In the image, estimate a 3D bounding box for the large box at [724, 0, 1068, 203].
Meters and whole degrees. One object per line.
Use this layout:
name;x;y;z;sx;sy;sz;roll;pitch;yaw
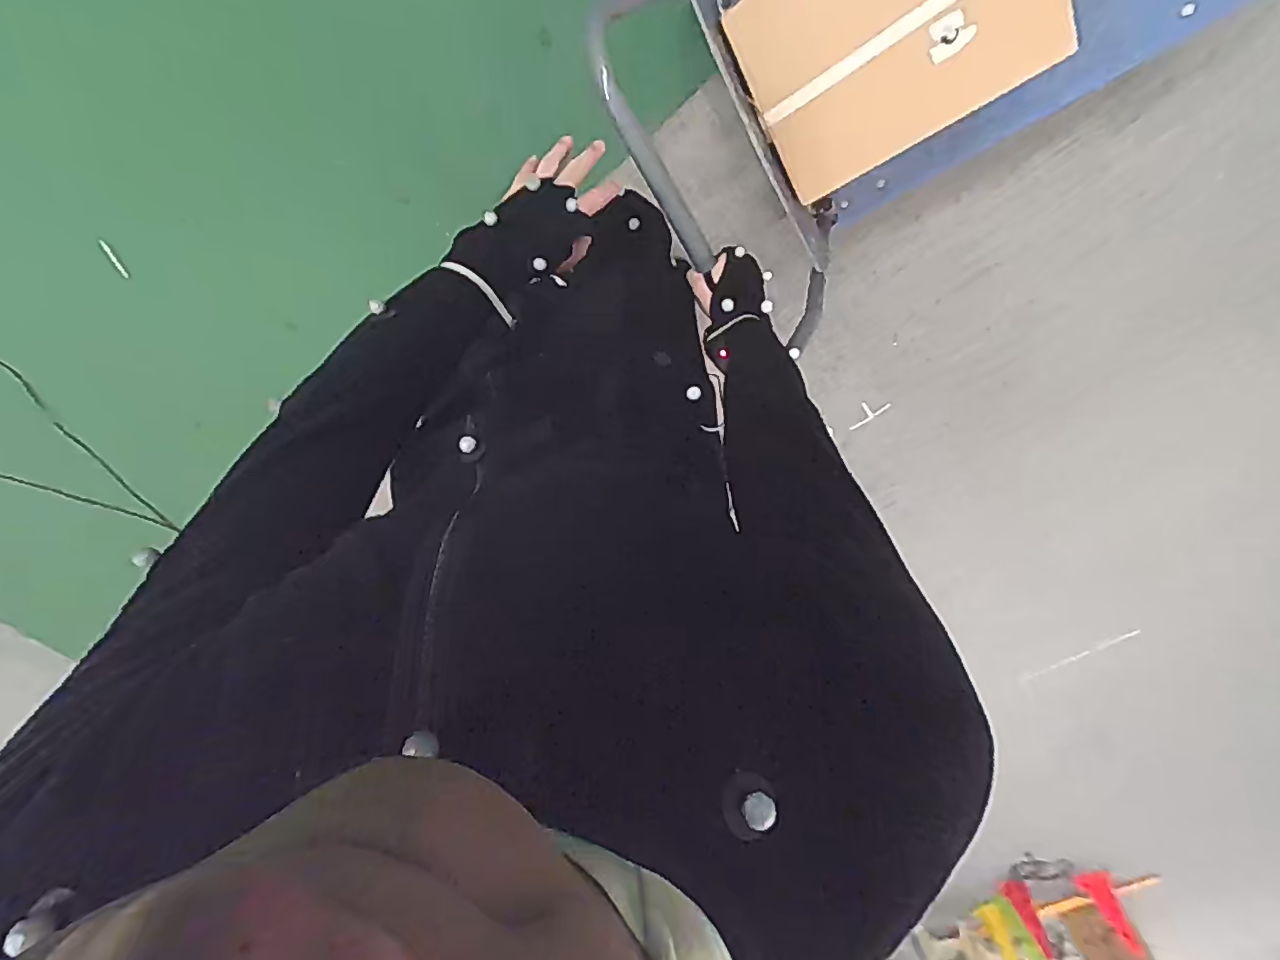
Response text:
large box;0.400;-0.753;0.910;0.408;0.320;0.320;-20;122;30
